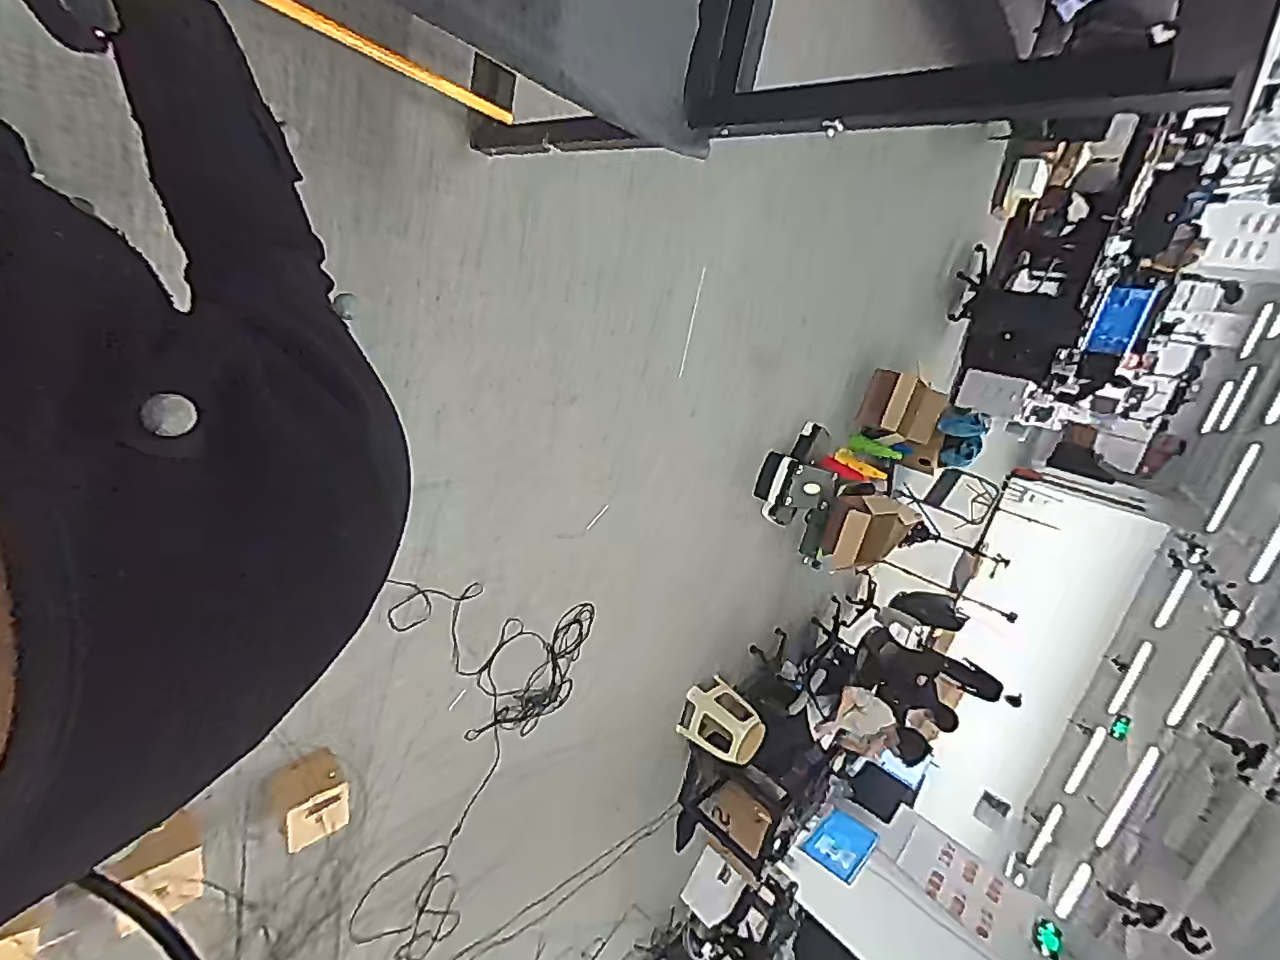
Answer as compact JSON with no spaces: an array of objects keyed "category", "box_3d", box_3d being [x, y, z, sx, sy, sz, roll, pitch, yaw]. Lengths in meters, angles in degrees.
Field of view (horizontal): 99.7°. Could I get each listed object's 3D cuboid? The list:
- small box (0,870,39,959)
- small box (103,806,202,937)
[{"category":"small box","box_3d":[-1.445,1.018,1.182,0.168,0.176,0.179,5,105,-50]},{"category":"small box","box_3d":[-1.253,0.995,1.391,0.168,0.176,0.179,-9,115,-49]}]
